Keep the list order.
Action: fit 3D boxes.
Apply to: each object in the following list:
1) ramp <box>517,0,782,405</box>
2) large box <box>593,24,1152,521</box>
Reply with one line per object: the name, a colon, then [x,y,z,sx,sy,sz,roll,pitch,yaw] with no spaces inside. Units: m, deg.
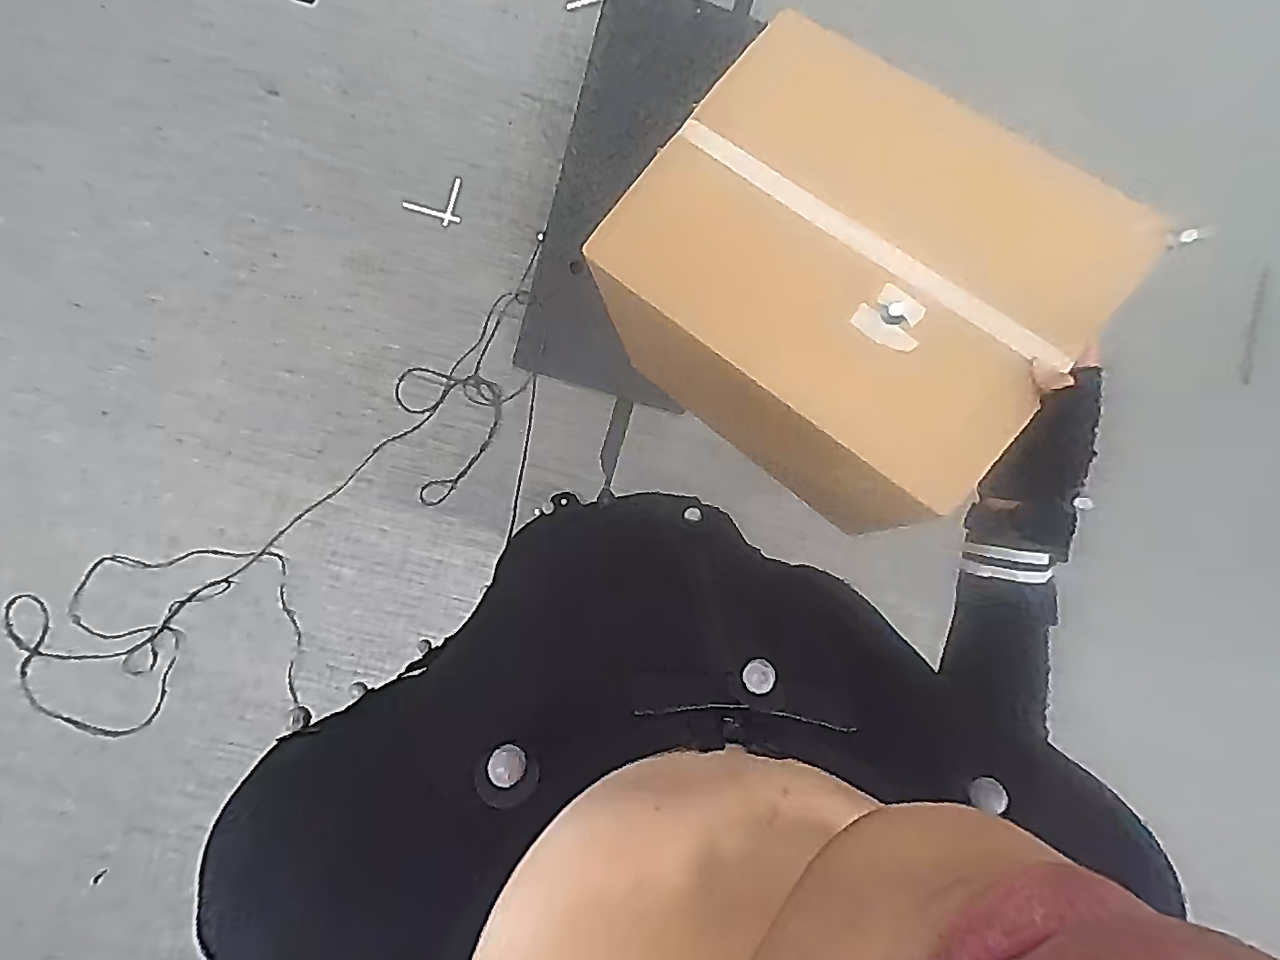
ramp: [0.030,-0.741,1.429,0.509,0.206,0.991,14,88,-7]
large box: [0.214,-0.199,0.642,0.408,0.320,0.320,39,89,11]
